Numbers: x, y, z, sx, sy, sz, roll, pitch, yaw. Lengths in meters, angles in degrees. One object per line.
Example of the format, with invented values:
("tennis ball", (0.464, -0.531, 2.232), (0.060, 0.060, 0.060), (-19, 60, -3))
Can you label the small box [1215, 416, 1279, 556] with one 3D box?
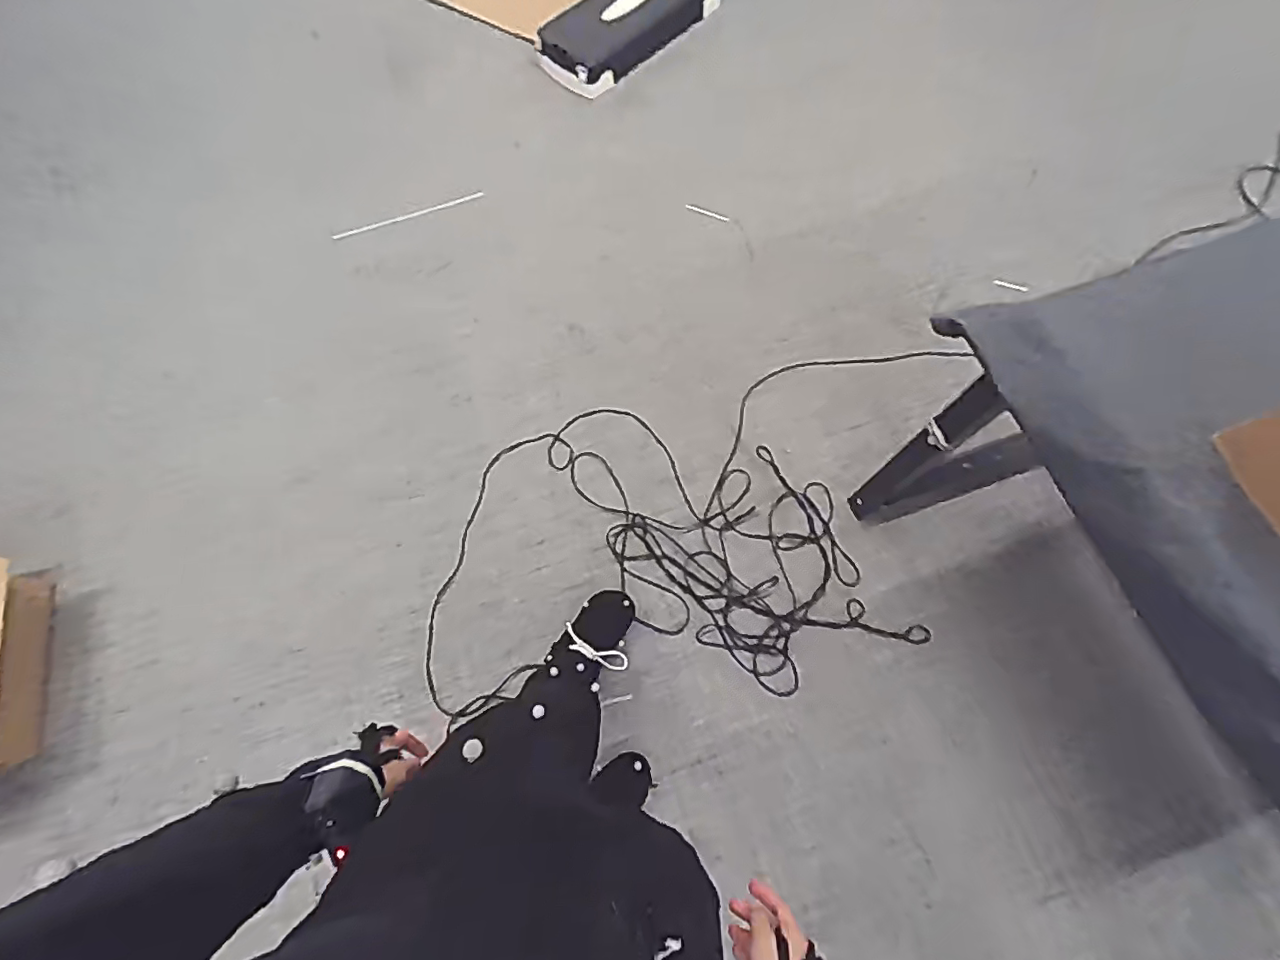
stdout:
("small box", (0.701, -0.007, 0.481), (0.168, 0.176, 0.179), (-16, 71, -4))
